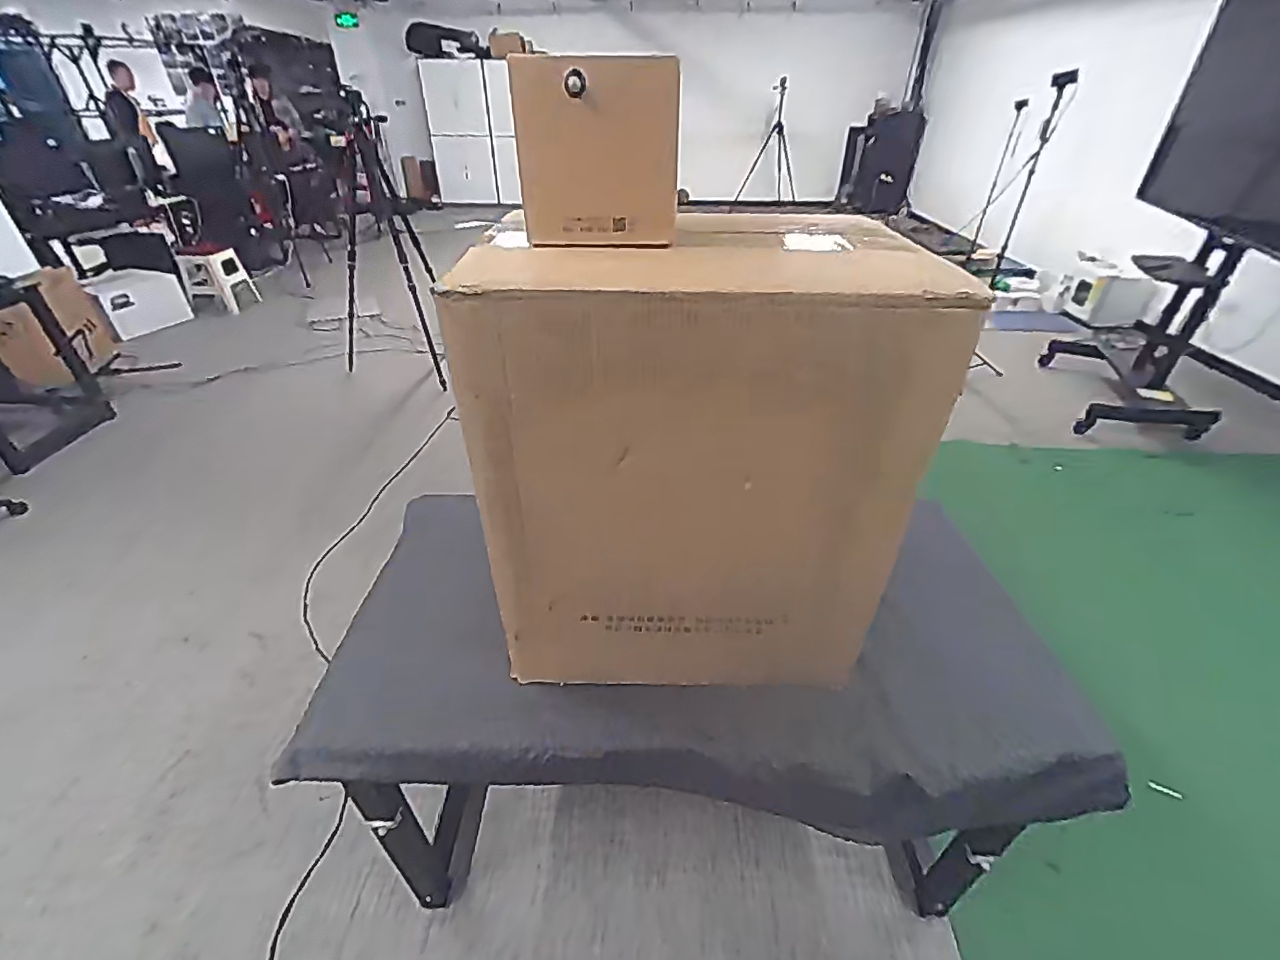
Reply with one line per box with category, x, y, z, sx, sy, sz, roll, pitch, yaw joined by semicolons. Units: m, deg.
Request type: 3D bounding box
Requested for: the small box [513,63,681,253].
small box;-0.039;-0.372;0.630;0.168;0.176;0.179;1;34;2
